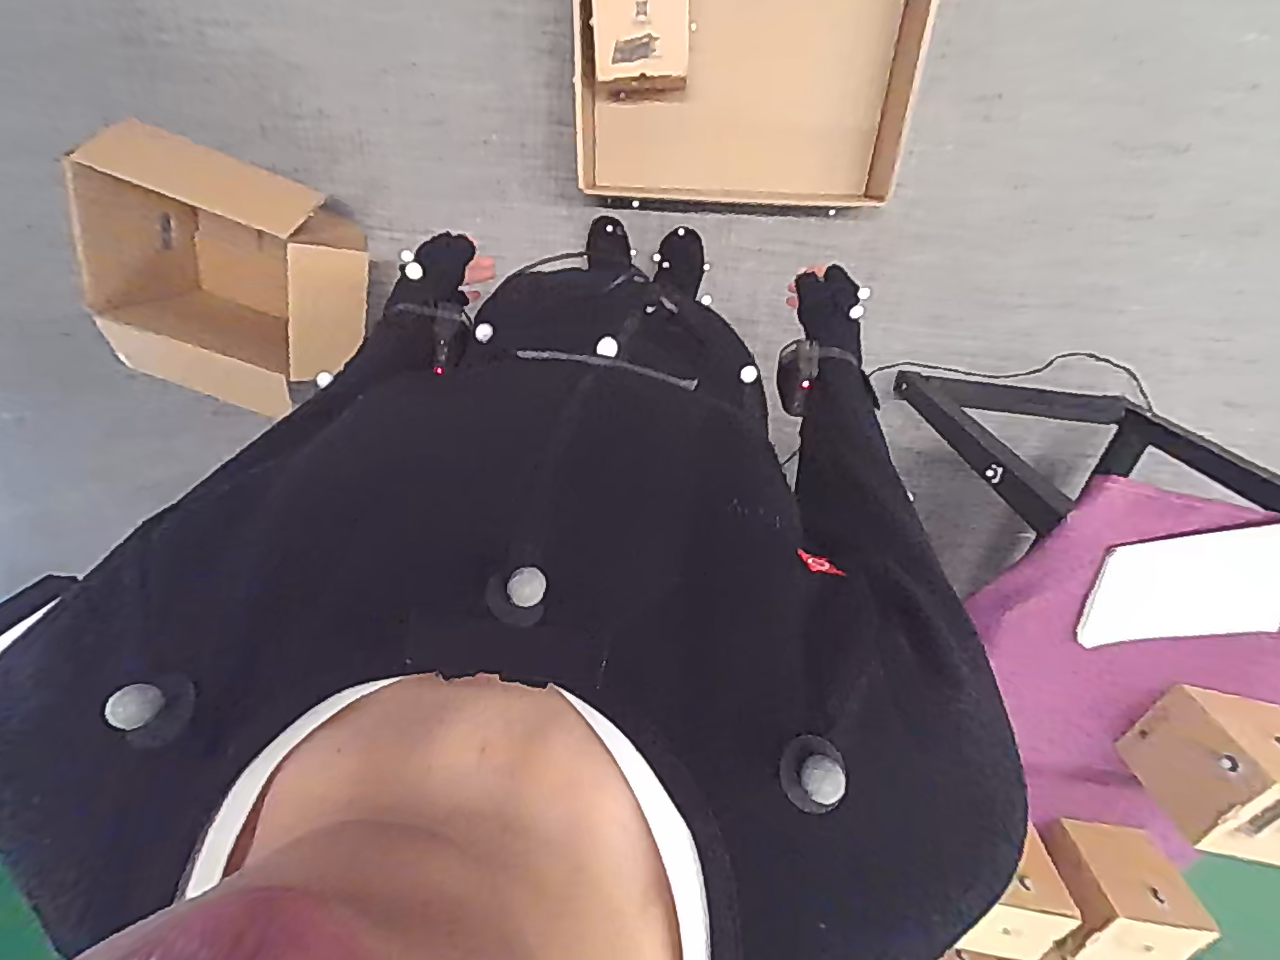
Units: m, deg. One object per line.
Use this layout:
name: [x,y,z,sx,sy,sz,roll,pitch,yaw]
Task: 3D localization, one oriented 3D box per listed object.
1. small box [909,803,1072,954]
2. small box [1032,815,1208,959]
small box: [0.651,0.754,1.035,0.179,0.176,0.168,11,119,-1]
small box: [0.875,0.769,1.024,0.179,0.176,0.168,8,119,1]
